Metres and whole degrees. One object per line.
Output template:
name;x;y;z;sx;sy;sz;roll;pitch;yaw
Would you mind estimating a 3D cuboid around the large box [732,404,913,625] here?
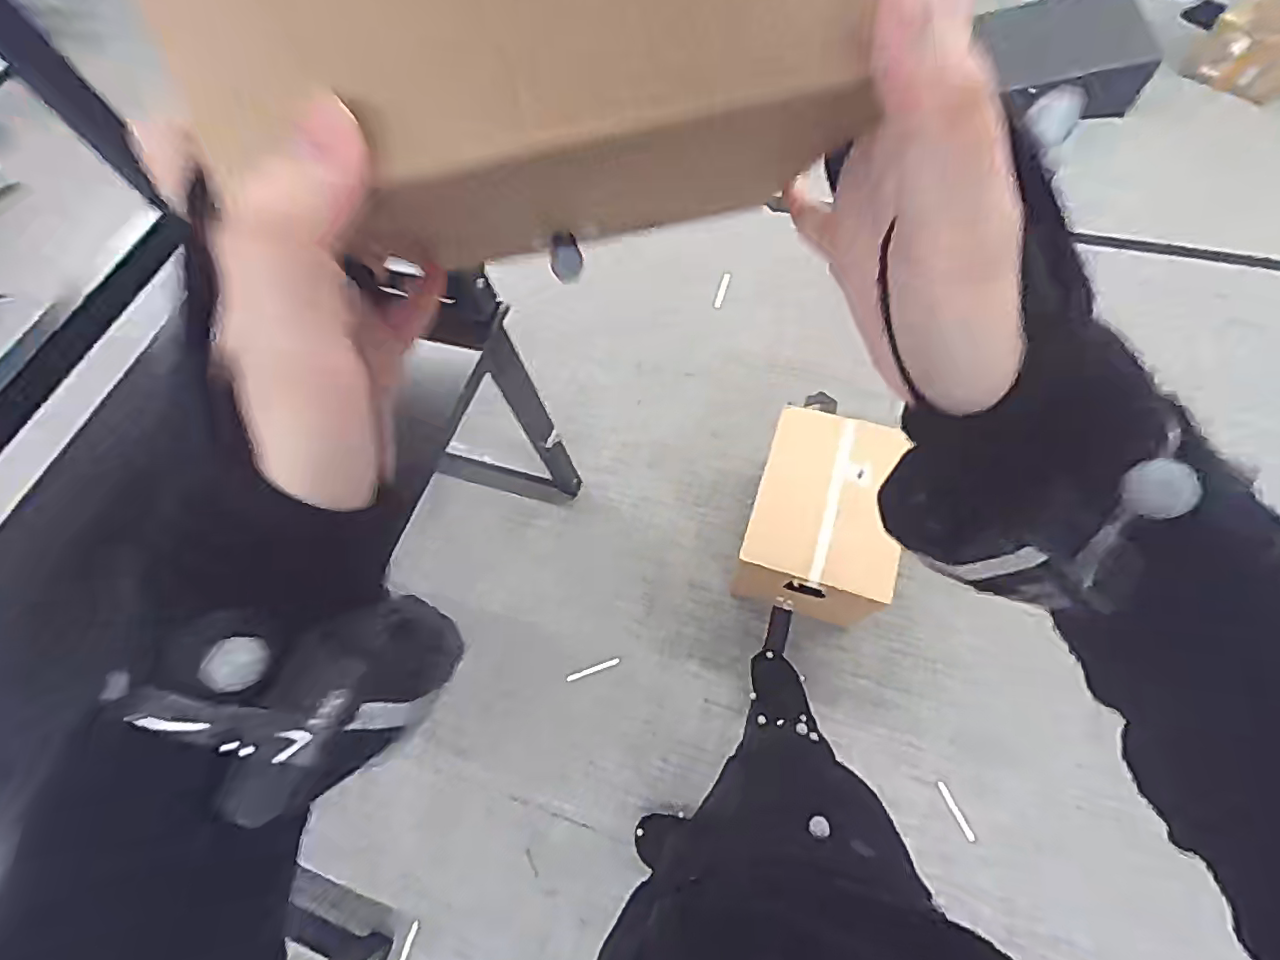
large box;0.425;0.093;1.310;0.320;0.320;0.408;16;68;12
